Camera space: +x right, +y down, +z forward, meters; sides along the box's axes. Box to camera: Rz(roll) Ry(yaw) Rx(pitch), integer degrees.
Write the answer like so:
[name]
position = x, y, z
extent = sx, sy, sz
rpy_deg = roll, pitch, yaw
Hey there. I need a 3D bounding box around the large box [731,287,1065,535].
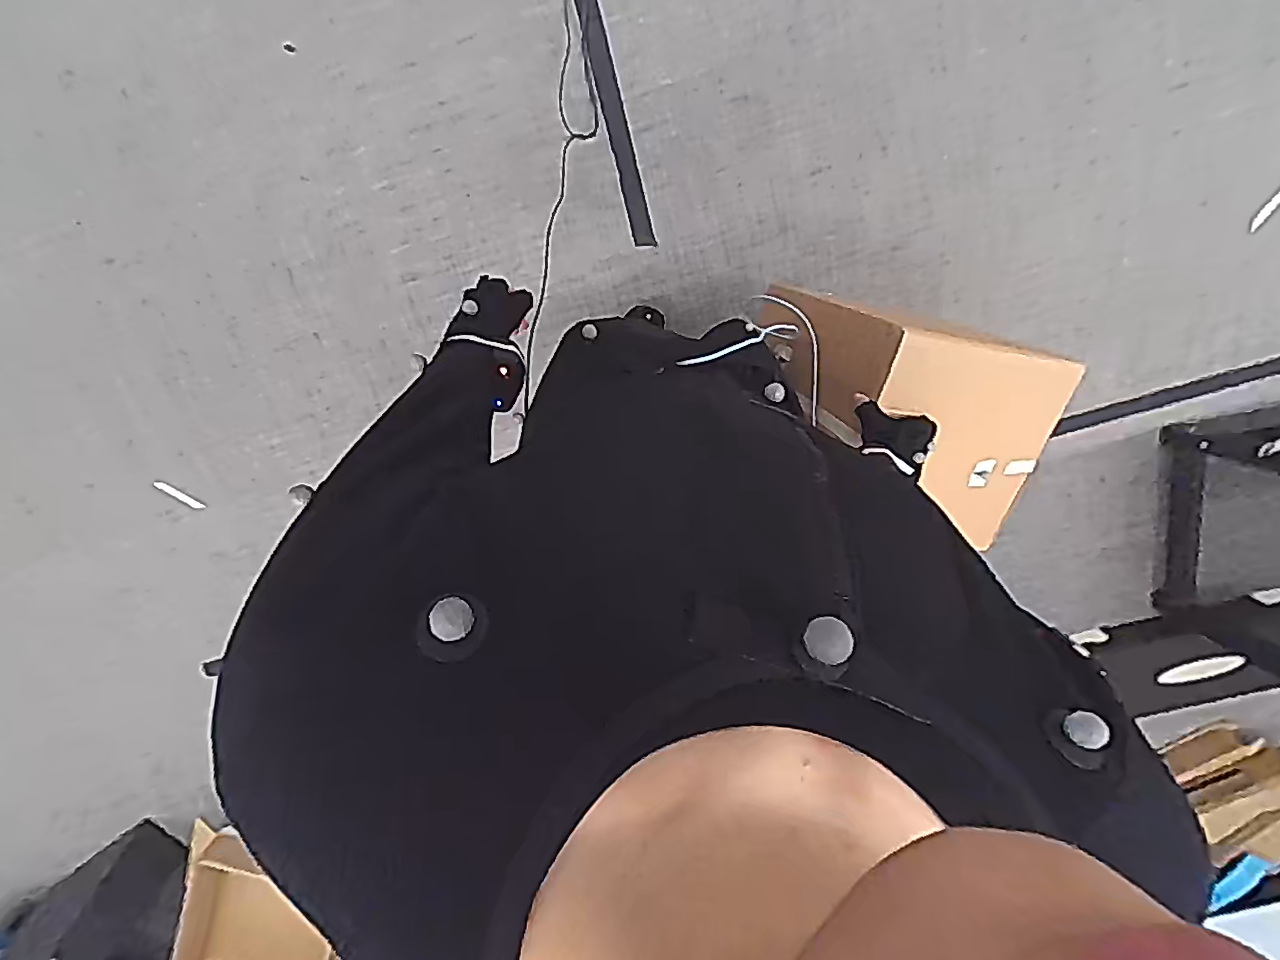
[large box]
position = 0.402, -0.135, 0.957
extent = 0.320, 0.408, 0.320
rpy_deg = 5, 116, -14
